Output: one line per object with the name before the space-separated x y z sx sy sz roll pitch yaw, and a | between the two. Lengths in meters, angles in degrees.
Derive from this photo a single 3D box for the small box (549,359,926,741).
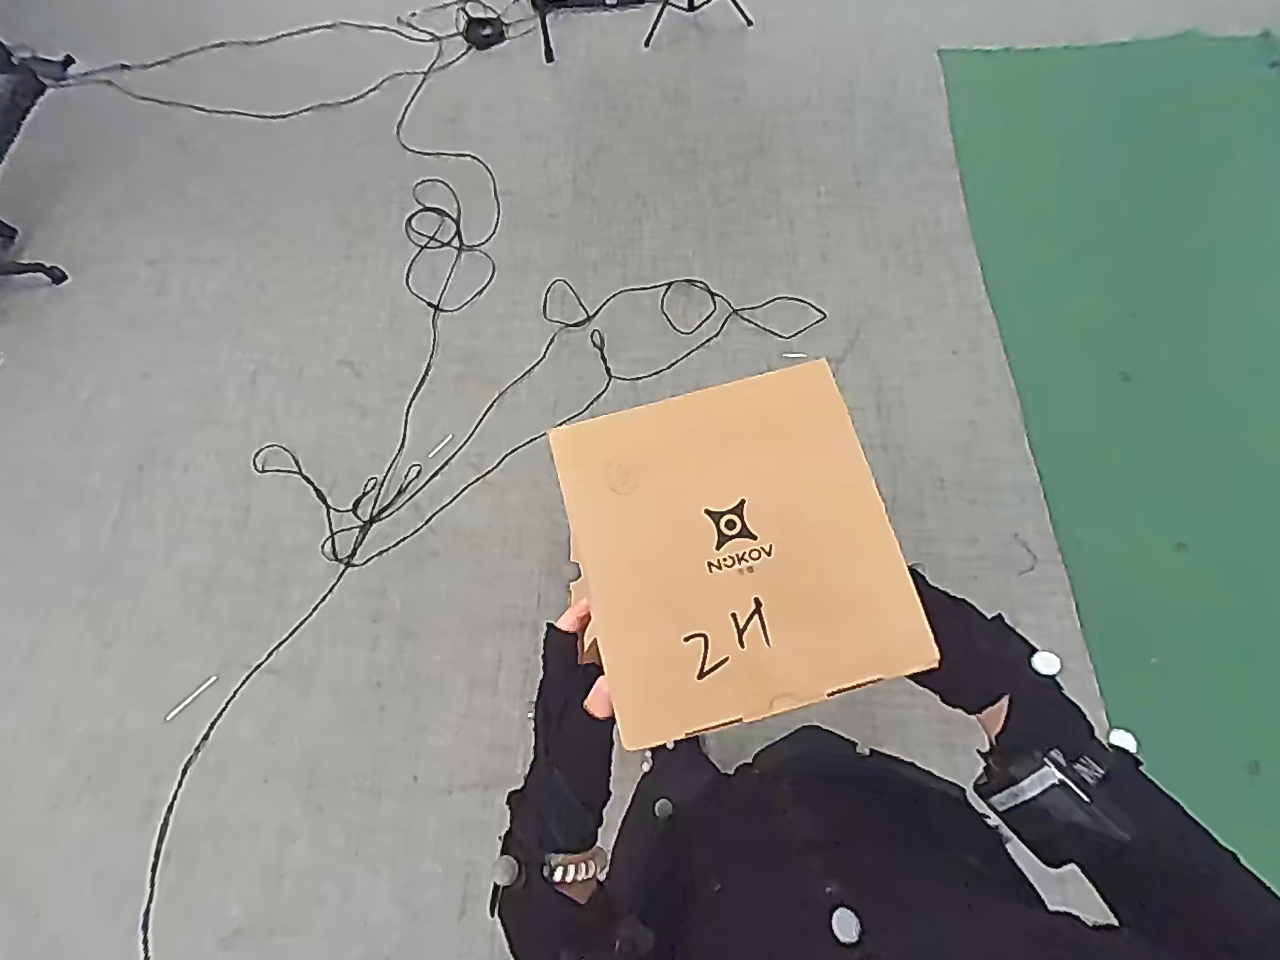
small box | 0.047 0.048 0.366 0.168 0.176 0.179 -15 78 -2
